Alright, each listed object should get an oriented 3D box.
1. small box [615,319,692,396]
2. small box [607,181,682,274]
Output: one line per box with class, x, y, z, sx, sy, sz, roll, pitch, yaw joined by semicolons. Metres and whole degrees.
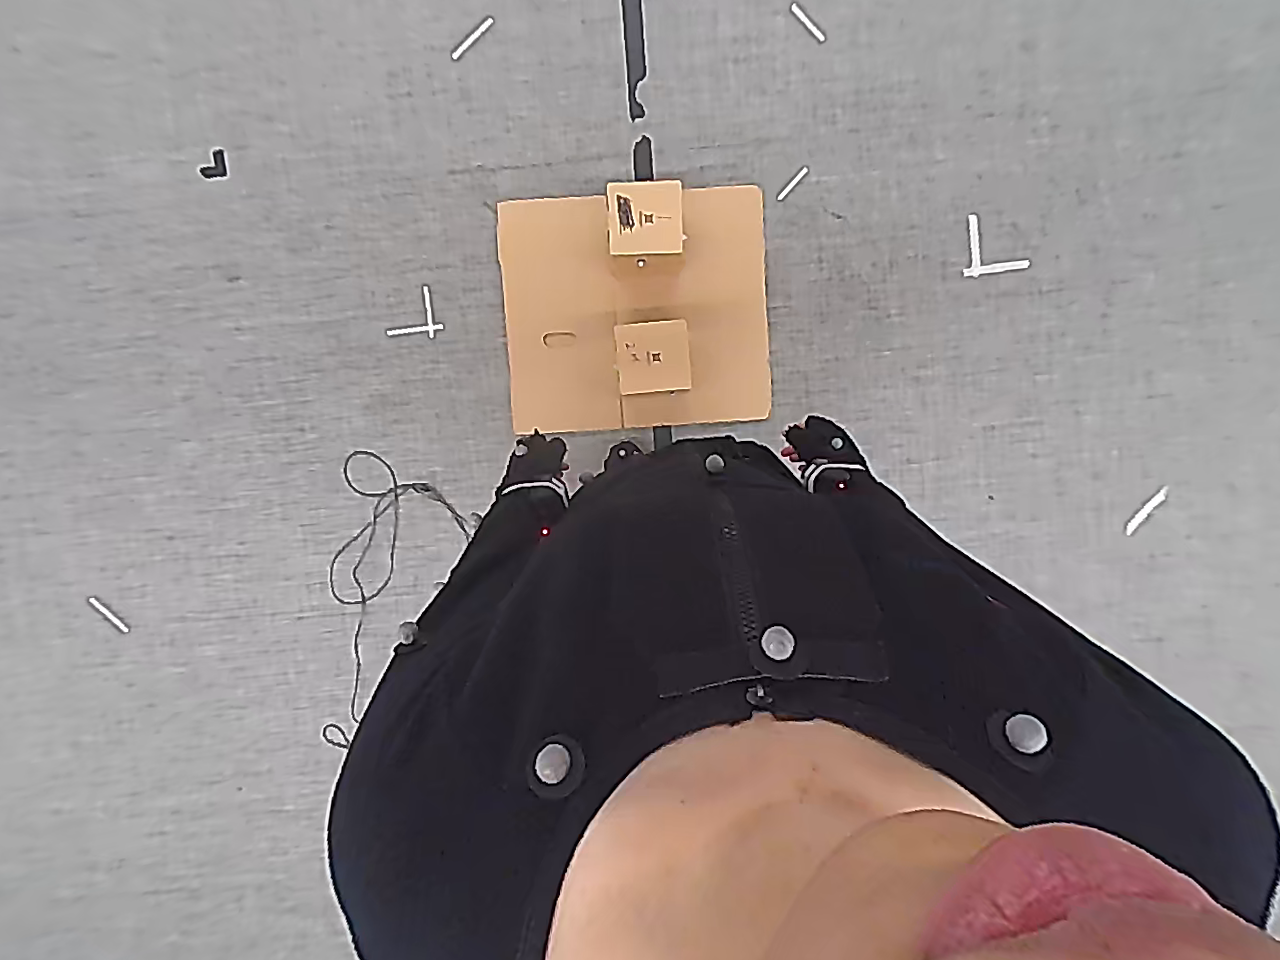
small box;0.033;-0.305;1.374;0.179;0.176;0.168;-5;94;2
small box;0.013;-0.621;1.349;0.179;0.176;0.168;-2;95;1
